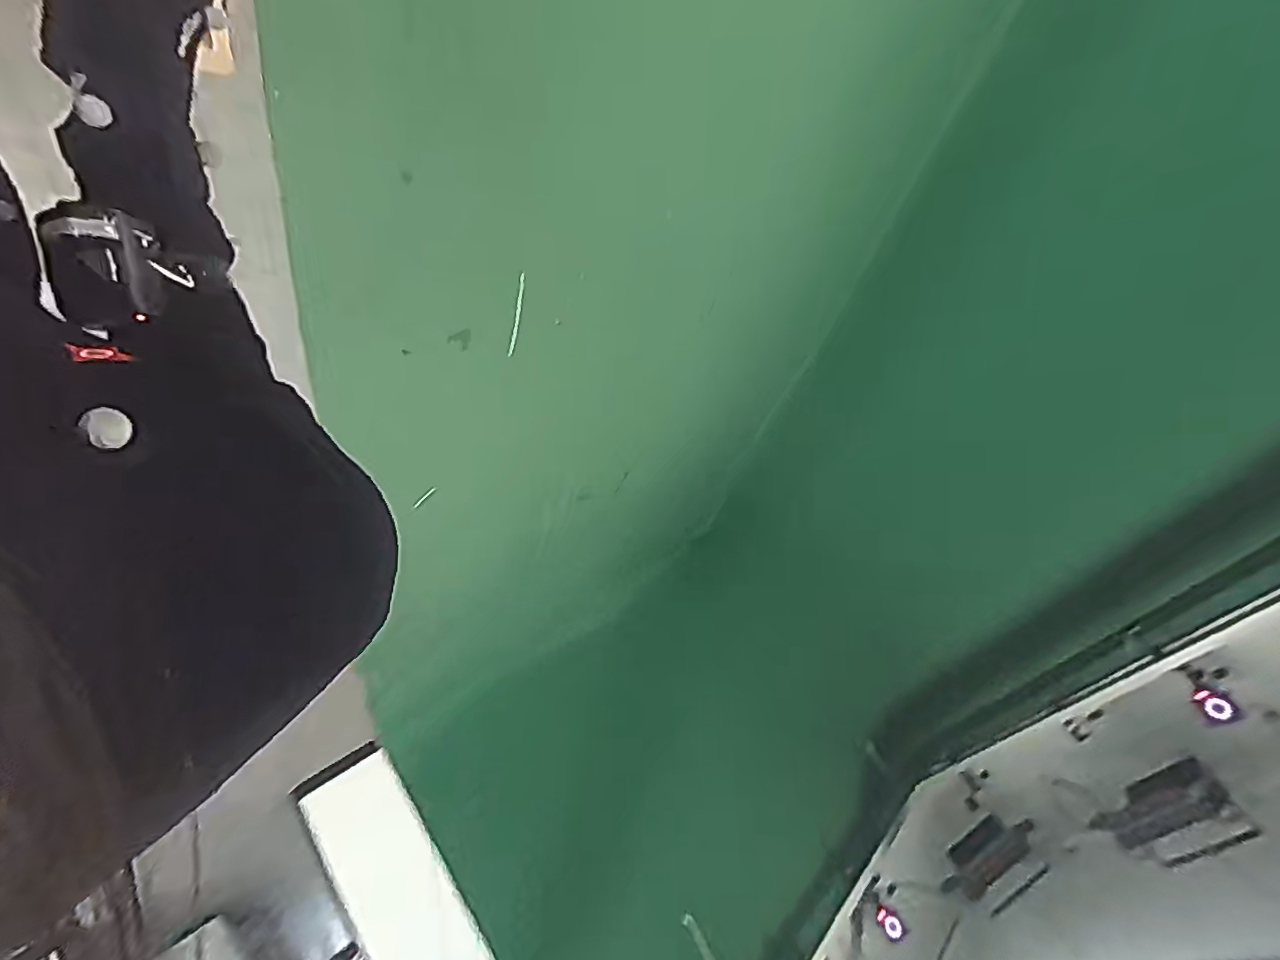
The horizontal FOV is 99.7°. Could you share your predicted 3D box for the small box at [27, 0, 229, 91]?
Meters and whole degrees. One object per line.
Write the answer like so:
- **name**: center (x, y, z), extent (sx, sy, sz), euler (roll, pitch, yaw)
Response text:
- **small box**: center (-0.668, -0.645, 0.698), extent (0.179, 0.176, 0.168), euler (-18, 143, -45)
